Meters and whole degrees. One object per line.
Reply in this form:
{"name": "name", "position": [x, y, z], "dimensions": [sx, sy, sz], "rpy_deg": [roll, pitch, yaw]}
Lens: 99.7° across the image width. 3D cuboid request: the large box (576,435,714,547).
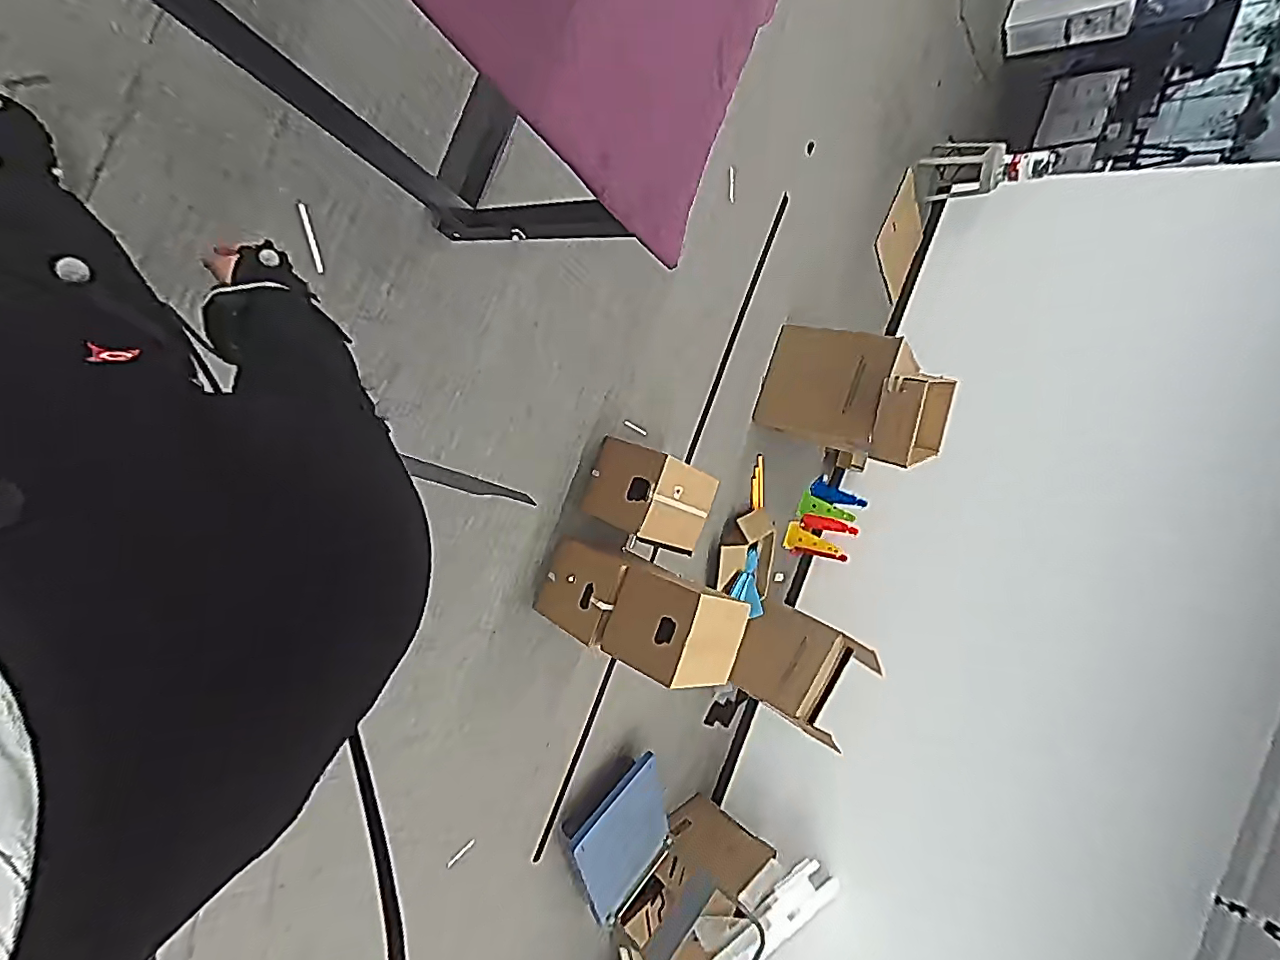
{"name": "large box", "position": [0.025, 0.048, 2.128], "dimensions": [0.408, 0.320, 0.320], "rpy_deg": [22, 88, -52]}
